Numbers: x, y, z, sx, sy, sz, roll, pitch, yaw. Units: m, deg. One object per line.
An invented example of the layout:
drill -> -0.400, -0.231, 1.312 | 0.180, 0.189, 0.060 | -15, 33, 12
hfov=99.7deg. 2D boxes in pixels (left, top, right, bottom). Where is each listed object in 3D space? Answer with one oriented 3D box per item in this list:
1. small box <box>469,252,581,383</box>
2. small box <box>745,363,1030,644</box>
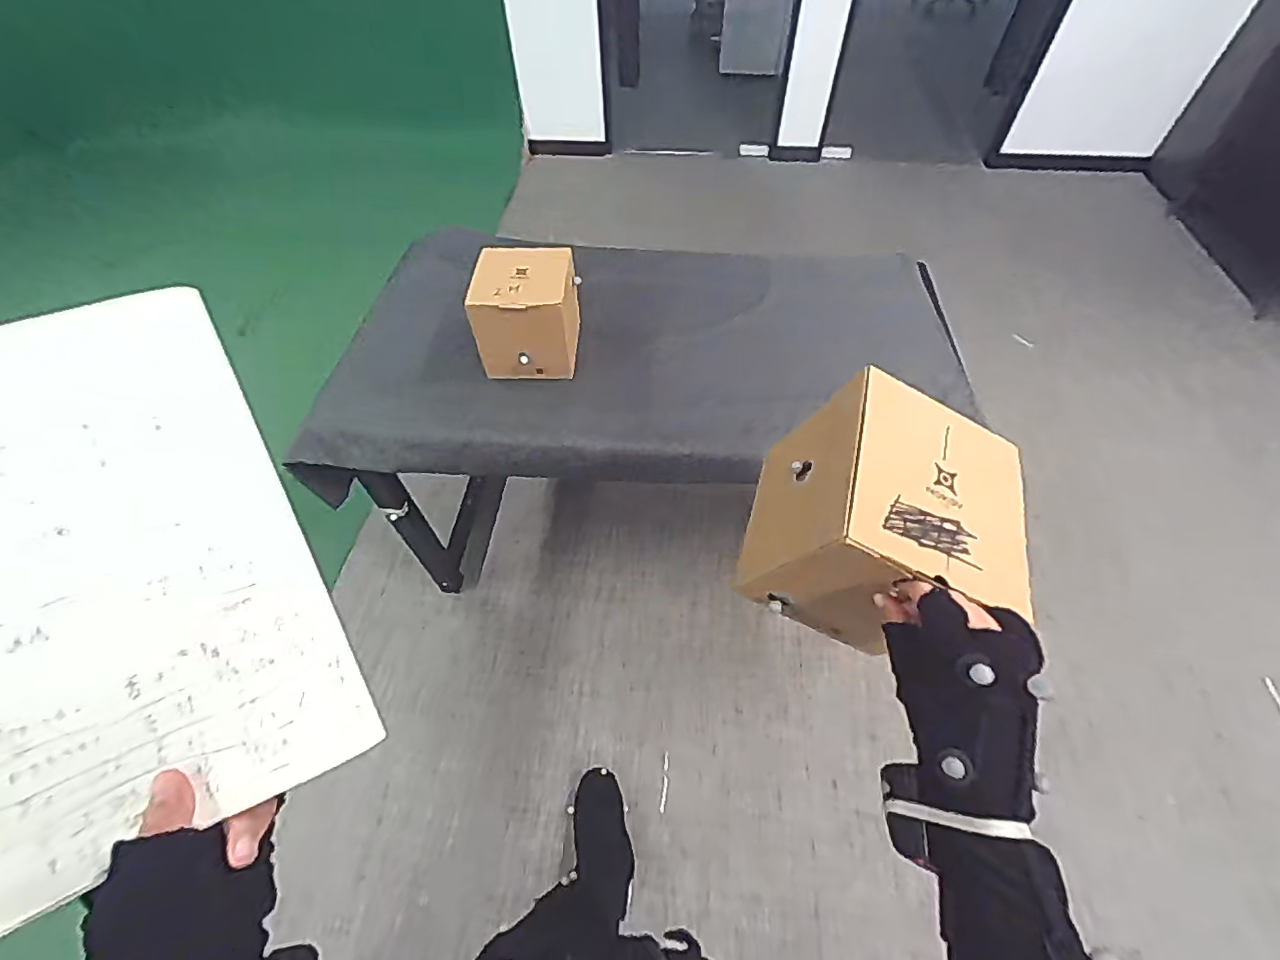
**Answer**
small box -> -0.204, -0.304, 1.016 | 0.168, 0.176, 0.179 | 0, 53, 1
small box -> 0.218, 0.034, 0.504 | 0.168, 0.176, 0.179 | 27, 58, -8
